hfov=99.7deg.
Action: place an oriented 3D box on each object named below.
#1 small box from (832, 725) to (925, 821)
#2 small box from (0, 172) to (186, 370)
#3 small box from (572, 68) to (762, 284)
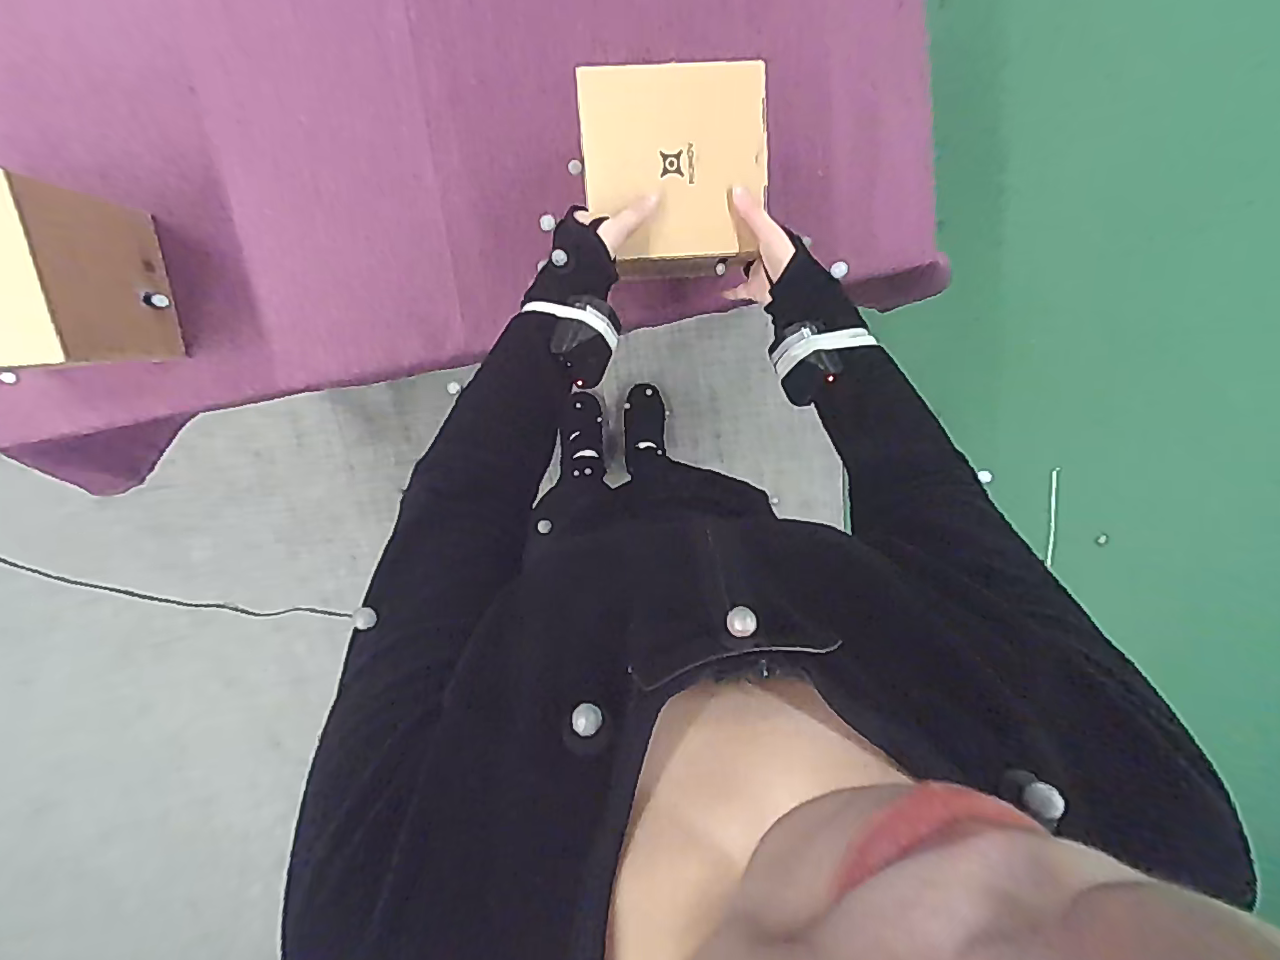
[{"bbox_3d":[0.745,0.921,1.713,0.168,0.176,0.179,36,99,-13],"label":"small box"},{"bbox_3d":[-0.632,-0.200,0.556,0.179,0.176,0.168,-4,104,-5],"label":"small box"},{"bbox_3d":[0.023,-0.313,0.590,0.179,0.176,0.168,-5,104,-4],"label":"small box"}]
